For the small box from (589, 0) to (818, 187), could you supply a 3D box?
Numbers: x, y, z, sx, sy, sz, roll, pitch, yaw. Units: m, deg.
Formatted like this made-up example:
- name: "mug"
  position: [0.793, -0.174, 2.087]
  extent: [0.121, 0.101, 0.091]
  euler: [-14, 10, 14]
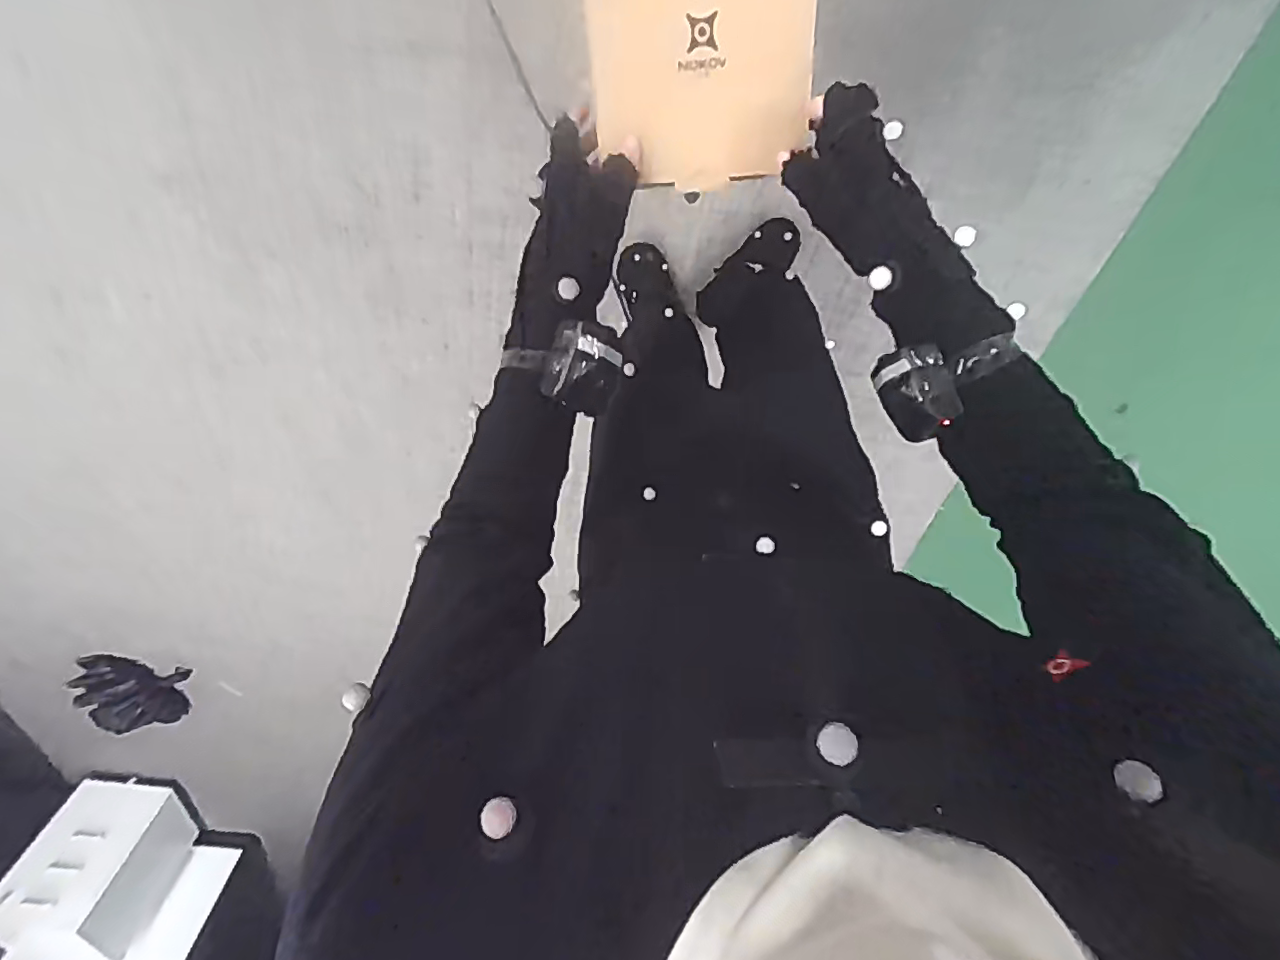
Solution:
- name: "small box"
  position: [0.047, -0.360, 0.466]
  extent: [0.168, 0.176, 0.179]
  euler: [-3, 120, 1]
